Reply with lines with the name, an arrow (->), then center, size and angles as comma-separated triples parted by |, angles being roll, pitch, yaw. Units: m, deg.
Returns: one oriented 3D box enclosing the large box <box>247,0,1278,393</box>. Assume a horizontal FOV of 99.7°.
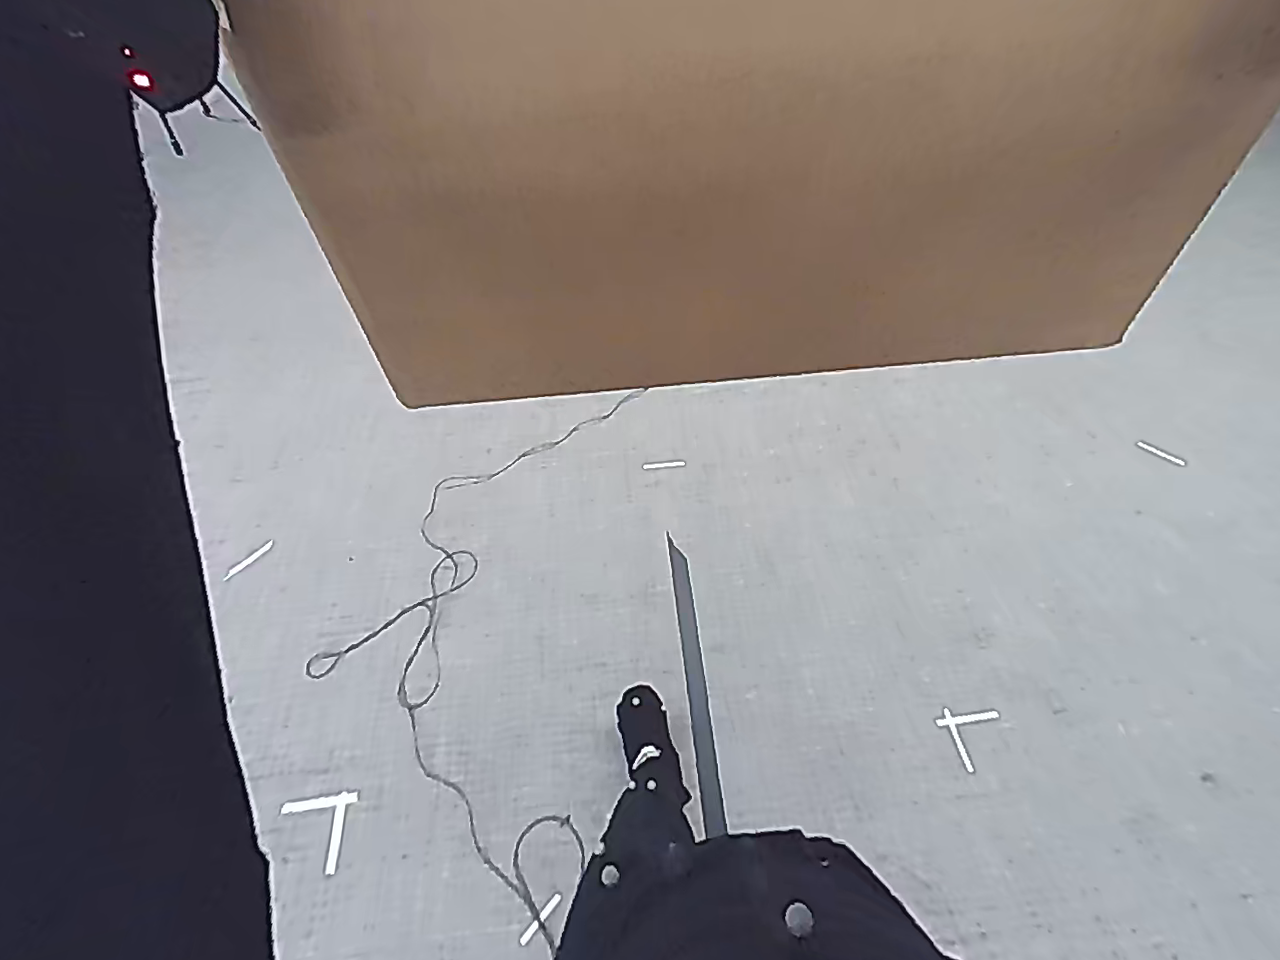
large box -> 0.045, -0.276, 0.311 | 0.408, 0.320, 0.320 | -5, 47, -1
